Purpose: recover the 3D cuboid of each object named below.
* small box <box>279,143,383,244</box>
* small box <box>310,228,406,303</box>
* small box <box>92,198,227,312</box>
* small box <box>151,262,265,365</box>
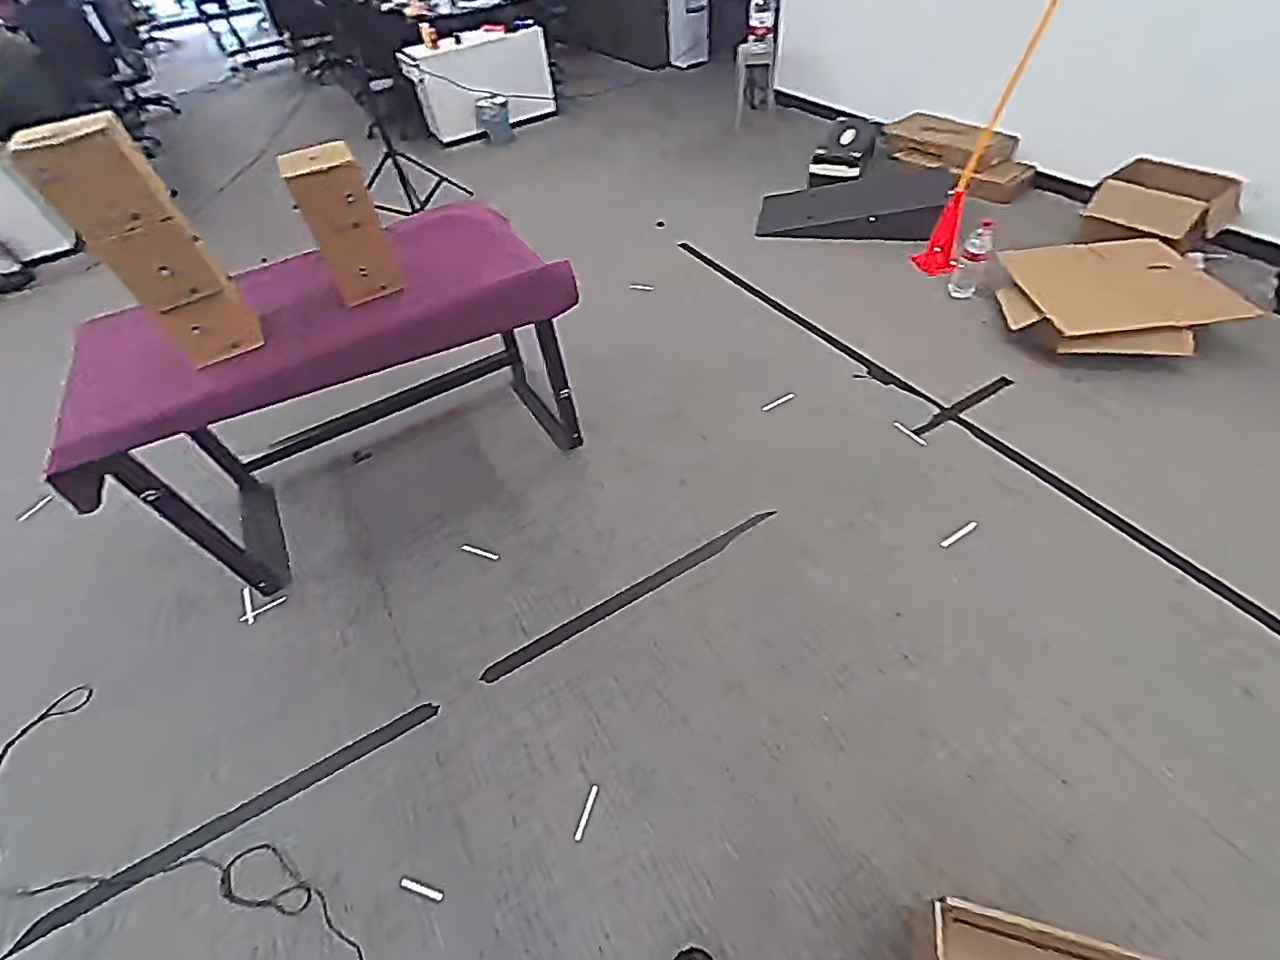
[{"bbox_3d":[-0.781,-0.724,1.378,0.168,0.176,0.179,-26,51,-16],"label":"small box"},{"bbox_3d":[-0.774,-0.612,1.496,0.168,0.176,0.179,-27,52,-16],"label":"small box"},{"bbox_3d":[-1.086,-0.507,1.232,0.168,0.176,0.179,-32,54,-19],"label":"small box"},{"bbox_3d":[-1.086,-0.414,1.368,0.168,0.176,0.179,-28,52,-16],"label":"small box"}]
